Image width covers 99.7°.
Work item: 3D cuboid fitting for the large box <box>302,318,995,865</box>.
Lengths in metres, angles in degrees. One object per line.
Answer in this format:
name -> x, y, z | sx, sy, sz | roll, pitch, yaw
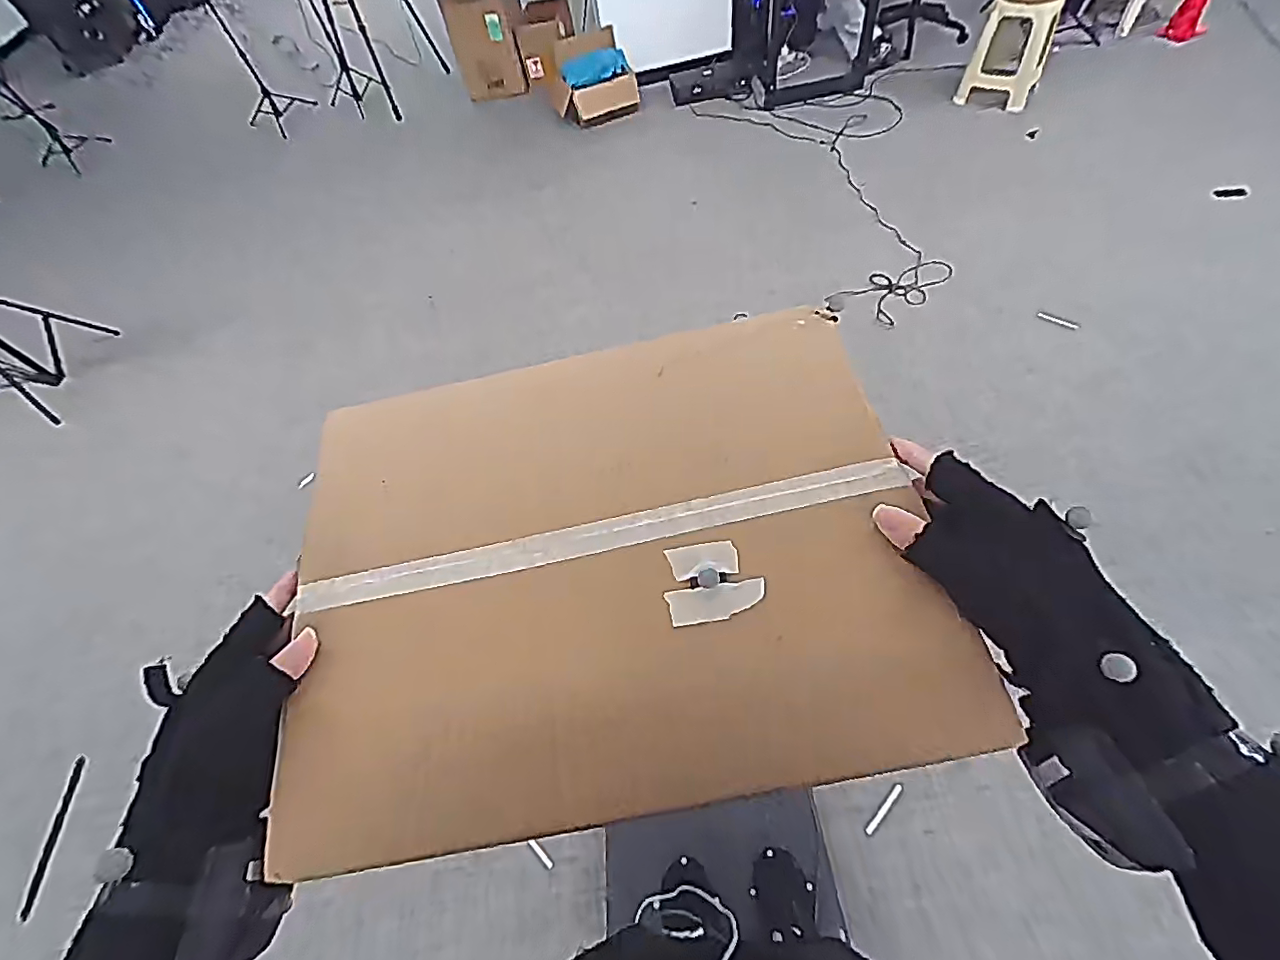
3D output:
large box -> -0.006, 0.111, 0.499 | 0.408, 0.320, 0.320 | -12, 62, 2
